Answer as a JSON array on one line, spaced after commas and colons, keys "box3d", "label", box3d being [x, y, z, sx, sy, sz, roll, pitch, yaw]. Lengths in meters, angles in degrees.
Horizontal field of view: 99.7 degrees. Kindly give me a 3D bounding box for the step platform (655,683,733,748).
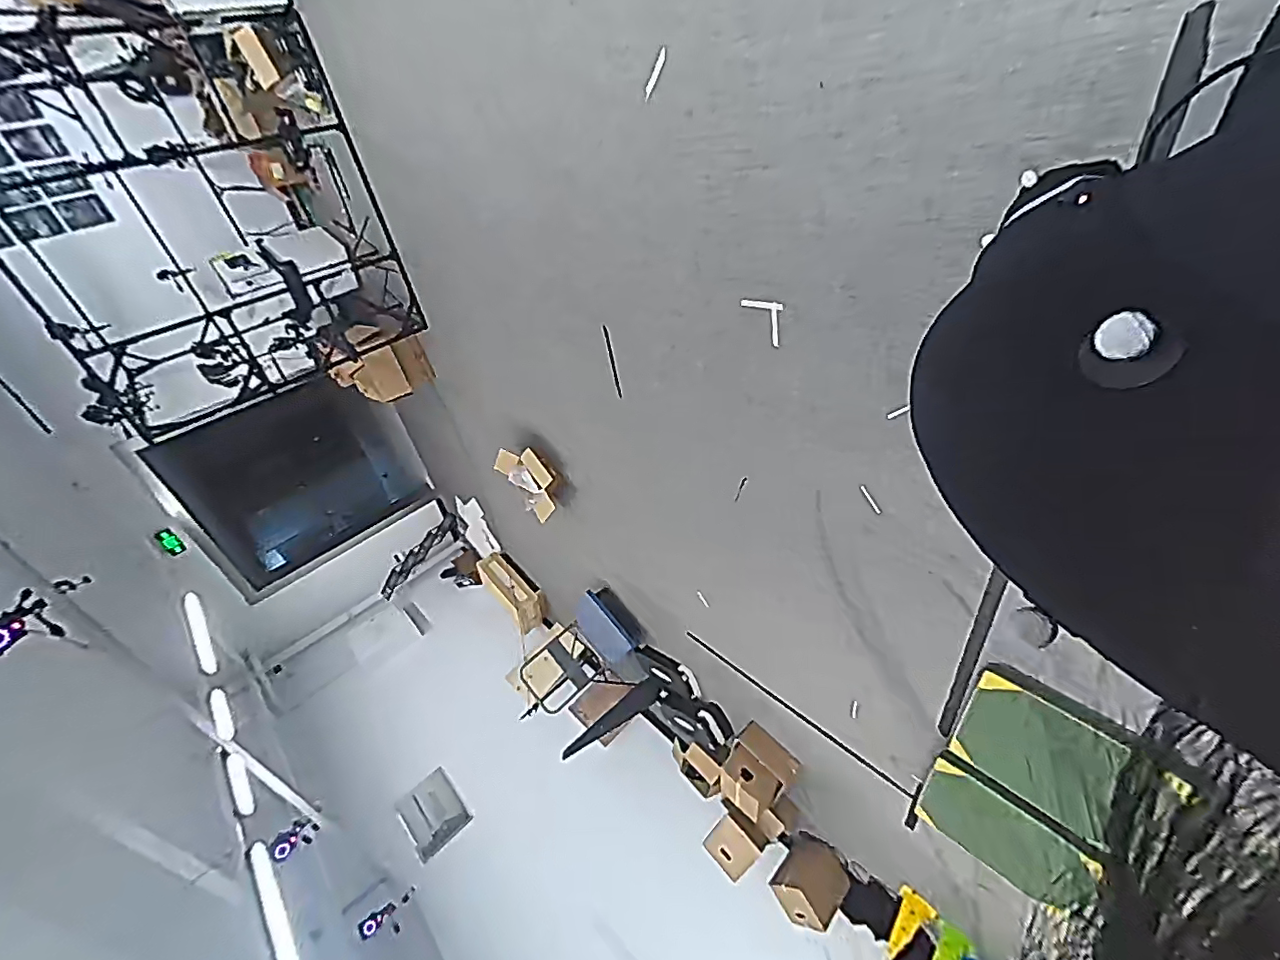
[{"box3d": [0.405, 1.848, 4.256, 0.684, 0.204, 0.286, -8, 113, 58], "label": "step platform"}]
